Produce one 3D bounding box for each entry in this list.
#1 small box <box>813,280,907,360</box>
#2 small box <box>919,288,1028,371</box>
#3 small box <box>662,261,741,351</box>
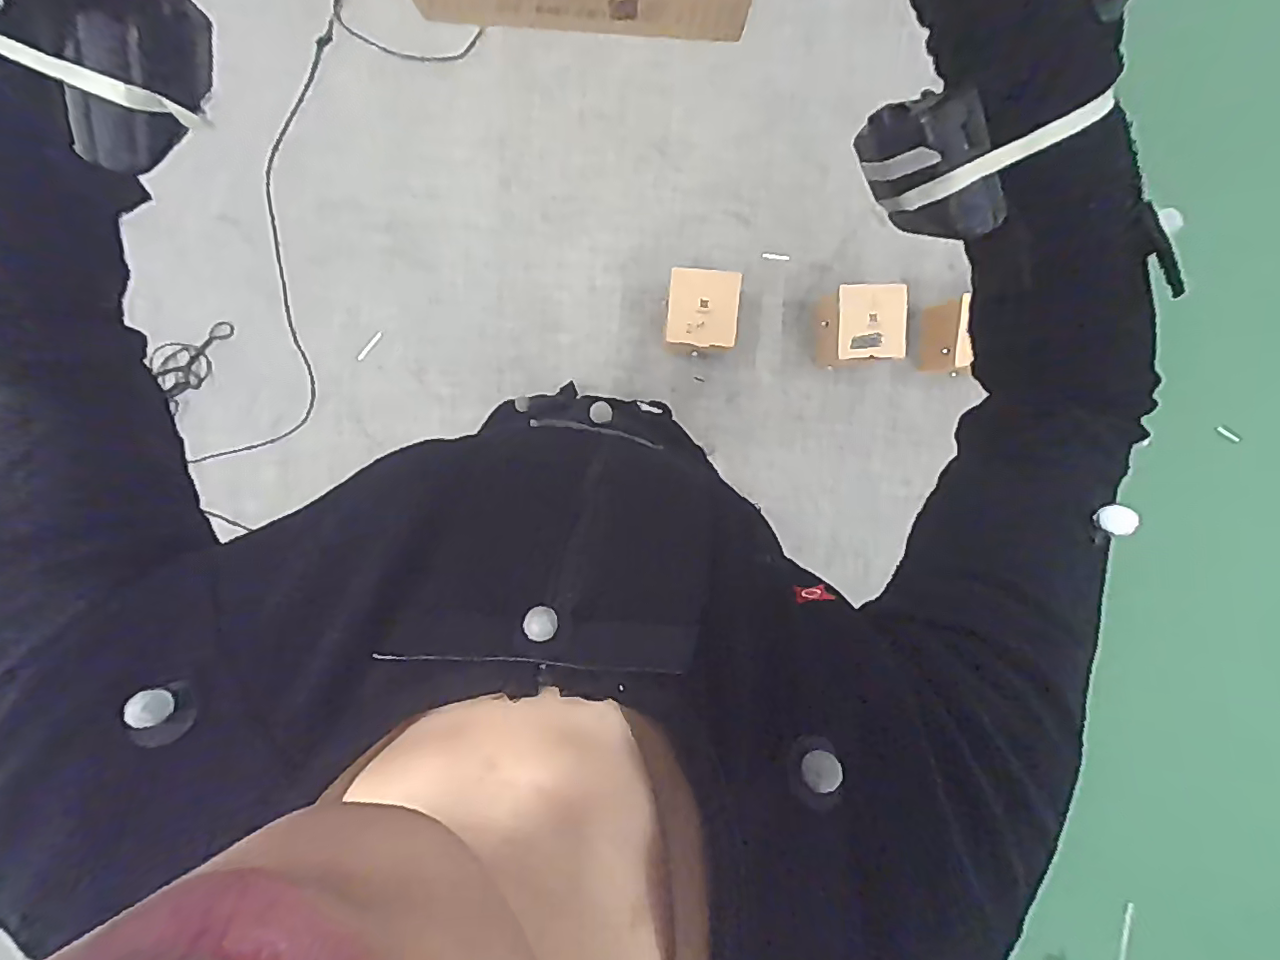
[{"bbox_3d":[0.546,-0.395,1.360,0.168,0.176,0.179,-1,96,-2],"label":"small box"},{"bbox_3d":[0.838,-0.375,1.374,0.168,0.176,0.179,3,97,-1],"label":"small box"},{"bbox_3d":[0.145,-0.425,1.341,0.168,0.176,0.179,4,98,-1],"label":"small box"}]
